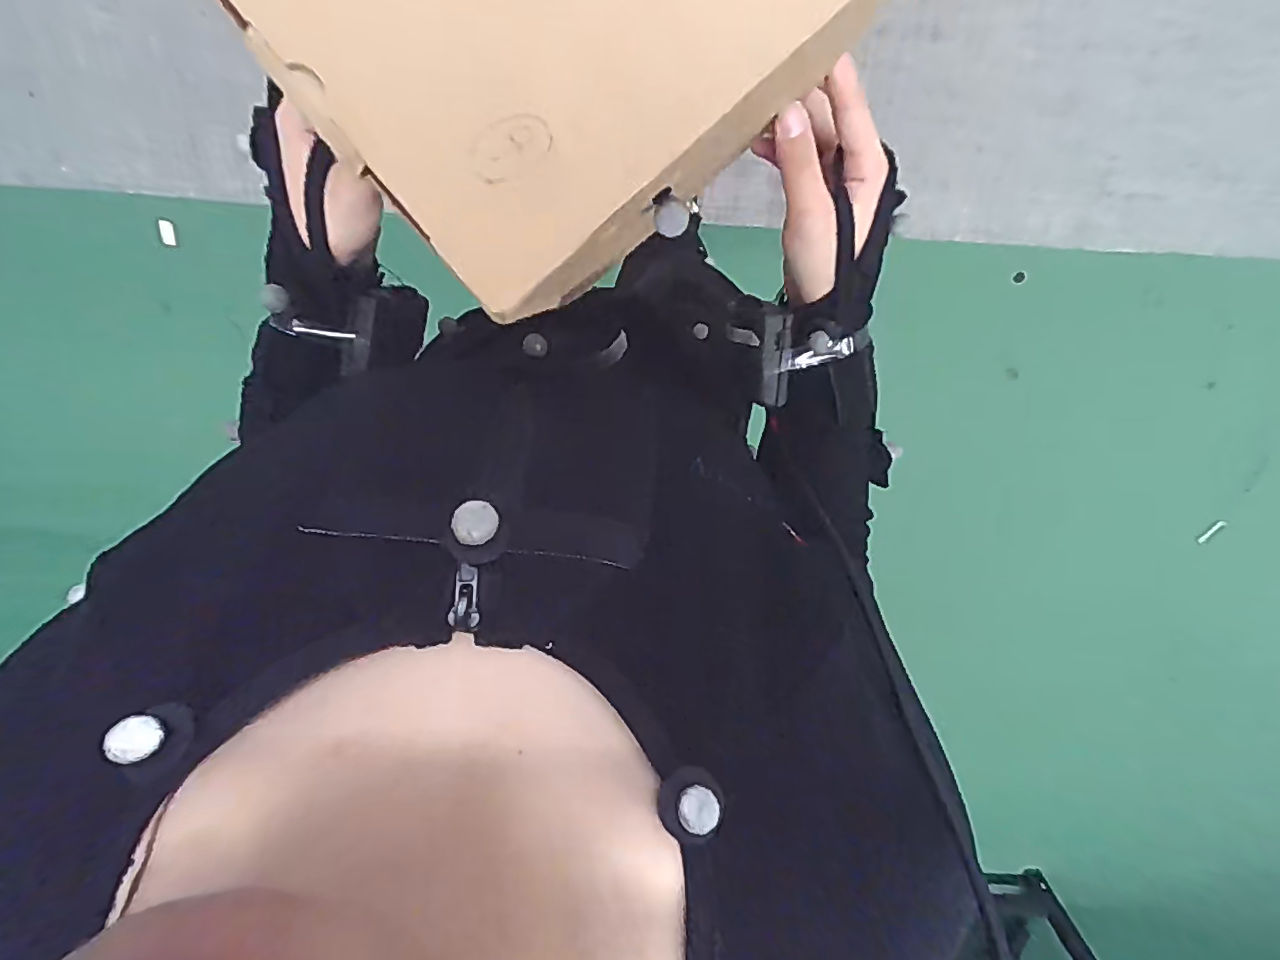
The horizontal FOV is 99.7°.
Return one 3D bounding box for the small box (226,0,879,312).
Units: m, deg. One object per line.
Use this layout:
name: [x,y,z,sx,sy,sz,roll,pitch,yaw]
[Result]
small box: [-0.026,-0.189,0.216,0.179,0.176,0.168,-36,105,14]
